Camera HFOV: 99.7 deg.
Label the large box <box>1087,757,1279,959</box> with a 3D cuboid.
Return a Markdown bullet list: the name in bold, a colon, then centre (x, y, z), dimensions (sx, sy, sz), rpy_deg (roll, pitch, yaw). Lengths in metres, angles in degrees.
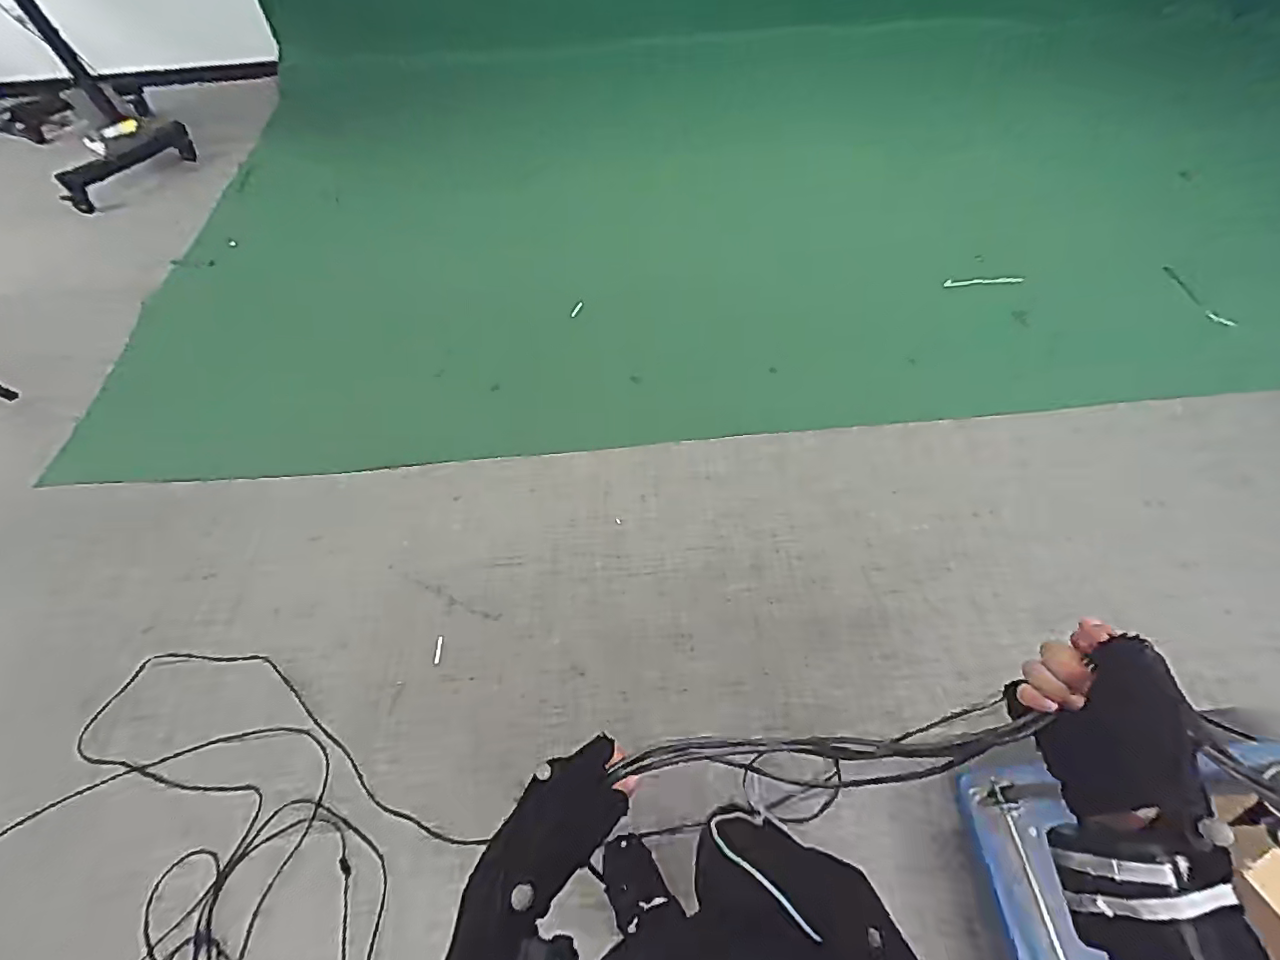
- **large box**: centre (1.059, 0.707, 0.837), dimensions (0.320, 0.320, 0.408), rpy_deg (-24, 59, -13)
